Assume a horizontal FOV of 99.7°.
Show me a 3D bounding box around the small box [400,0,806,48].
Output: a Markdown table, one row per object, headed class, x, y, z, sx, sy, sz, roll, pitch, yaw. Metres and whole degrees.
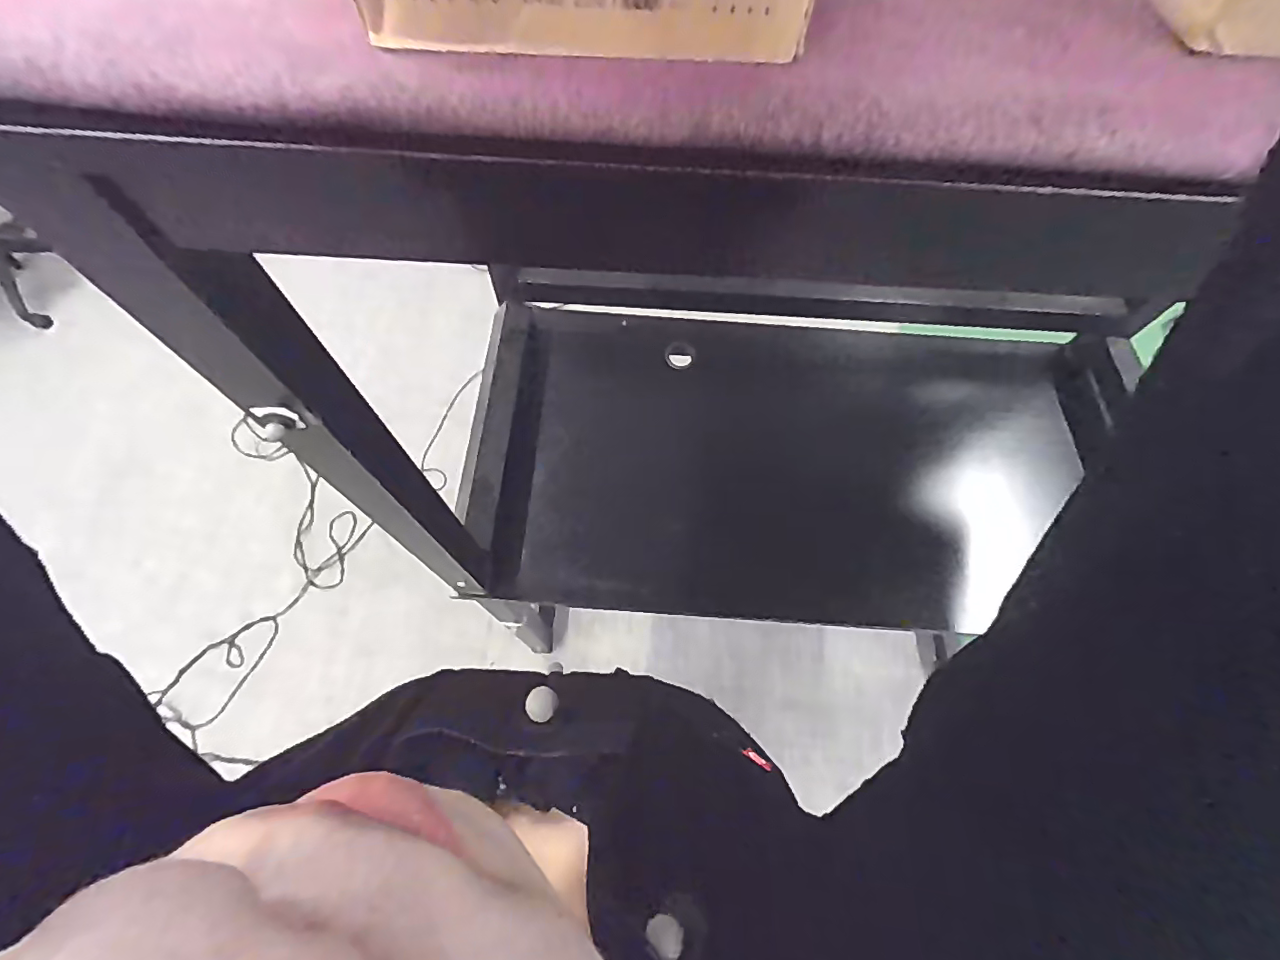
| class | x | y | z | sx | sy | sz | roll | pitch | yaw |
| --- | --- | --- | --- | --- | --- | --- | --- | --- | --- |
| small box | -0.015 | -0.280 | 0.167 | 0.168 | 0.176 | 0.179 | 1 | 66 | -2 |
